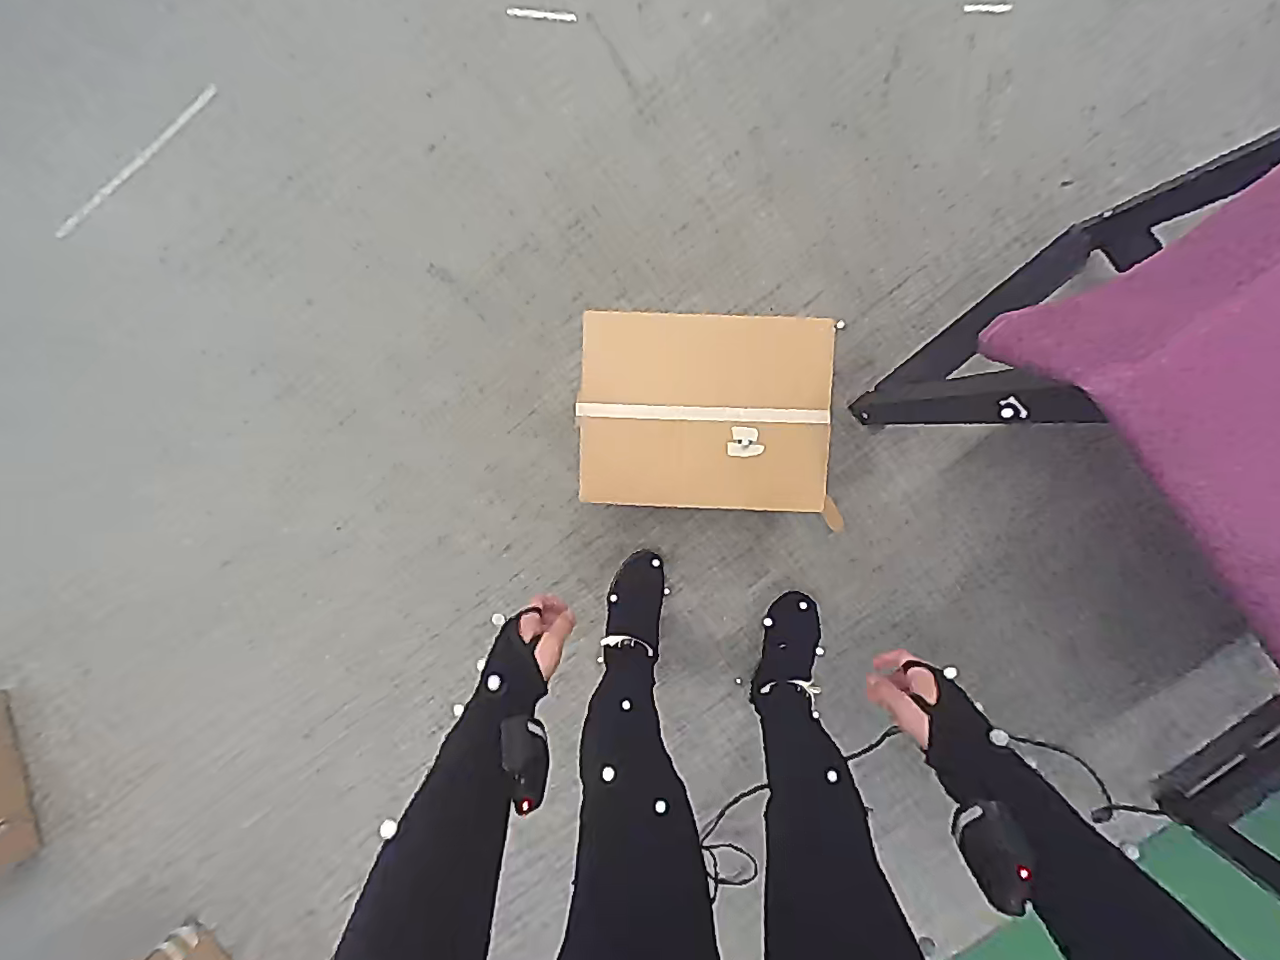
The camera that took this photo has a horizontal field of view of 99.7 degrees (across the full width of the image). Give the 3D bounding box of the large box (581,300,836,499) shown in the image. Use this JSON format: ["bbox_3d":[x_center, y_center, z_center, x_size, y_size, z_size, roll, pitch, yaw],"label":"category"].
[{"bbox_3d":[0.106,-0.141,1.005,0.408,0.320,0.320,2,97,1],"label":"large box"}]
